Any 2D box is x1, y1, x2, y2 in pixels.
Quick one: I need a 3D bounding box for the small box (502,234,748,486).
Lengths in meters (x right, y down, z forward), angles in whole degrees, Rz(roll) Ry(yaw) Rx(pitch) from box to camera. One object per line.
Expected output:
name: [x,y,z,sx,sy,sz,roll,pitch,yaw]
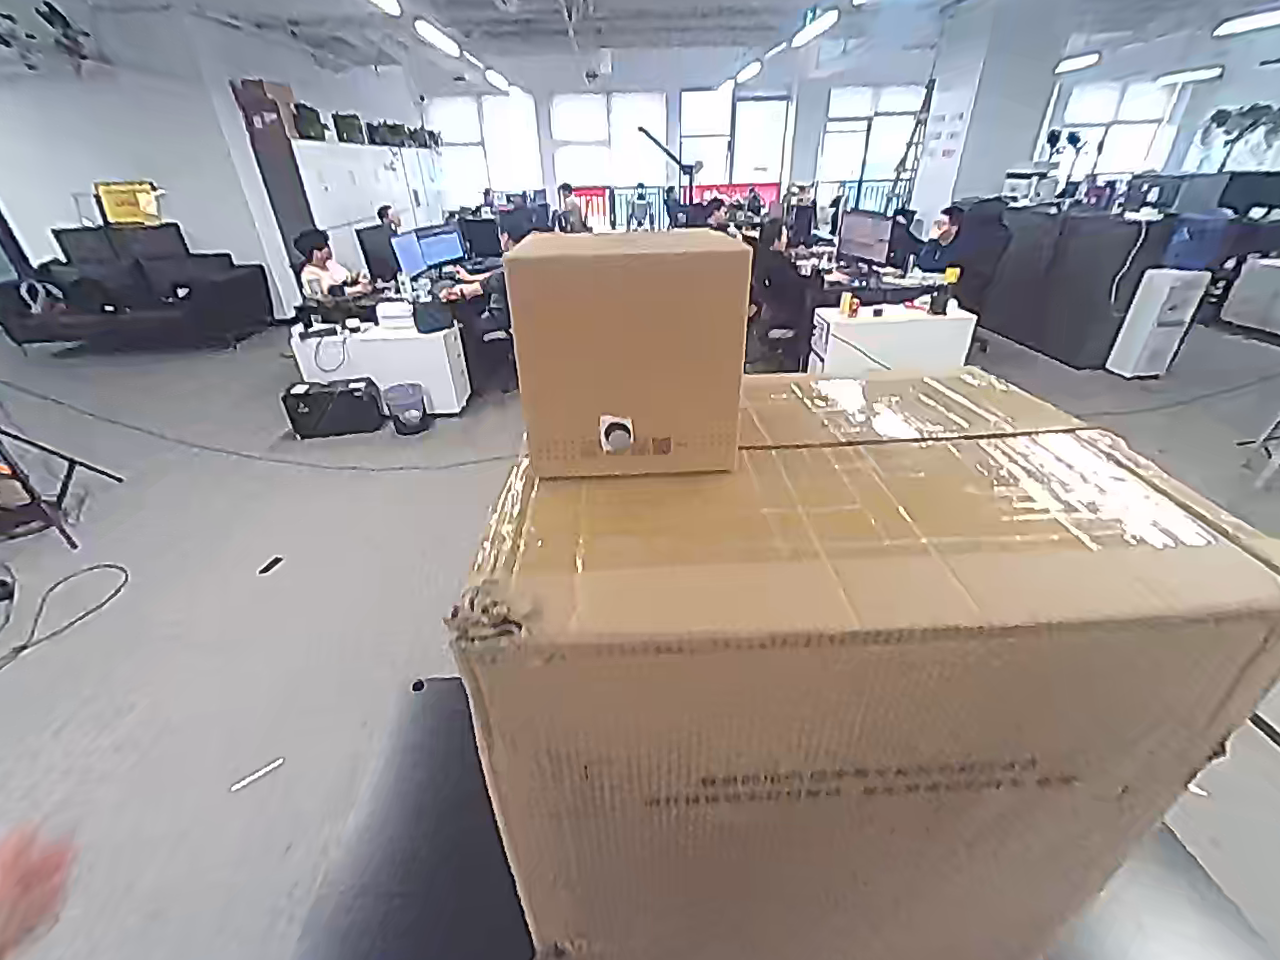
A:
small box: [-0.013,-0.110,0.464,0.168,0.176,0.179,-5,30,-3]
